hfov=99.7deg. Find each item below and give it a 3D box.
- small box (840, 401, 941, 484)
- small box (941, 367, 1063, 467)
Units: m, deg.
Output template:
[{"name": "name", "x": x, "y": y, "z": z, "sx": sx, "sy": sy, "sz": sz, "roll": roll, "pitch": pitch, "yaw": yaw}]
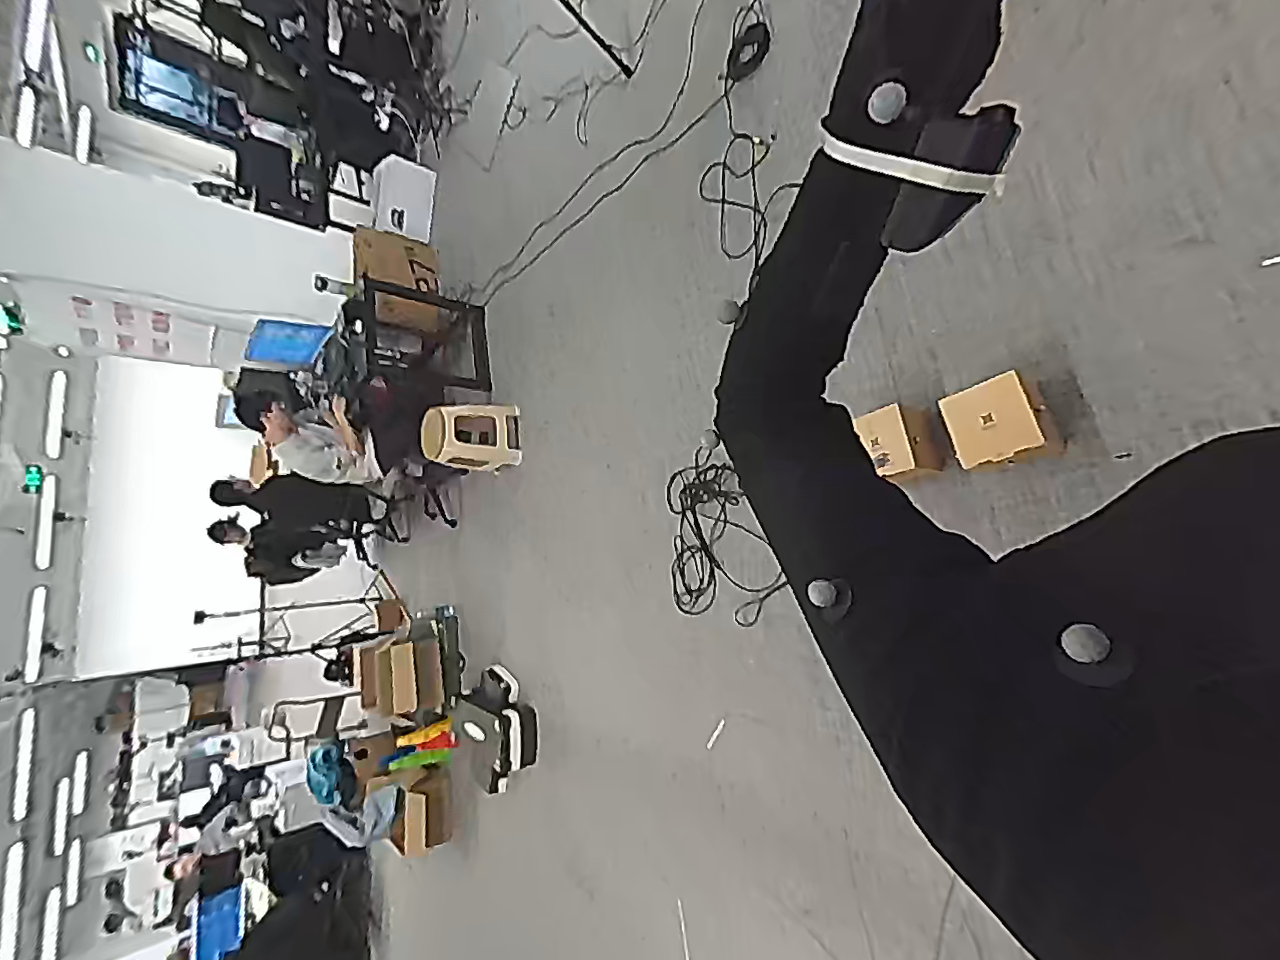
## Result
[{"name": "small box", "x": 0.668, "y": -0.092, "z": 1.436, "sx": 0.168, "sy": 0.176, "sz": 0.179, "roll": -24, "pitch": 70, "yaw": 46}, {"name": "small box", "x": 0.836, "y": -0.137, "z": 1.250, "sx": 0.168, "sy": 0.176, "sz": 0.179, "roll": -28, "pitch": 69, "yaw": 45}]
